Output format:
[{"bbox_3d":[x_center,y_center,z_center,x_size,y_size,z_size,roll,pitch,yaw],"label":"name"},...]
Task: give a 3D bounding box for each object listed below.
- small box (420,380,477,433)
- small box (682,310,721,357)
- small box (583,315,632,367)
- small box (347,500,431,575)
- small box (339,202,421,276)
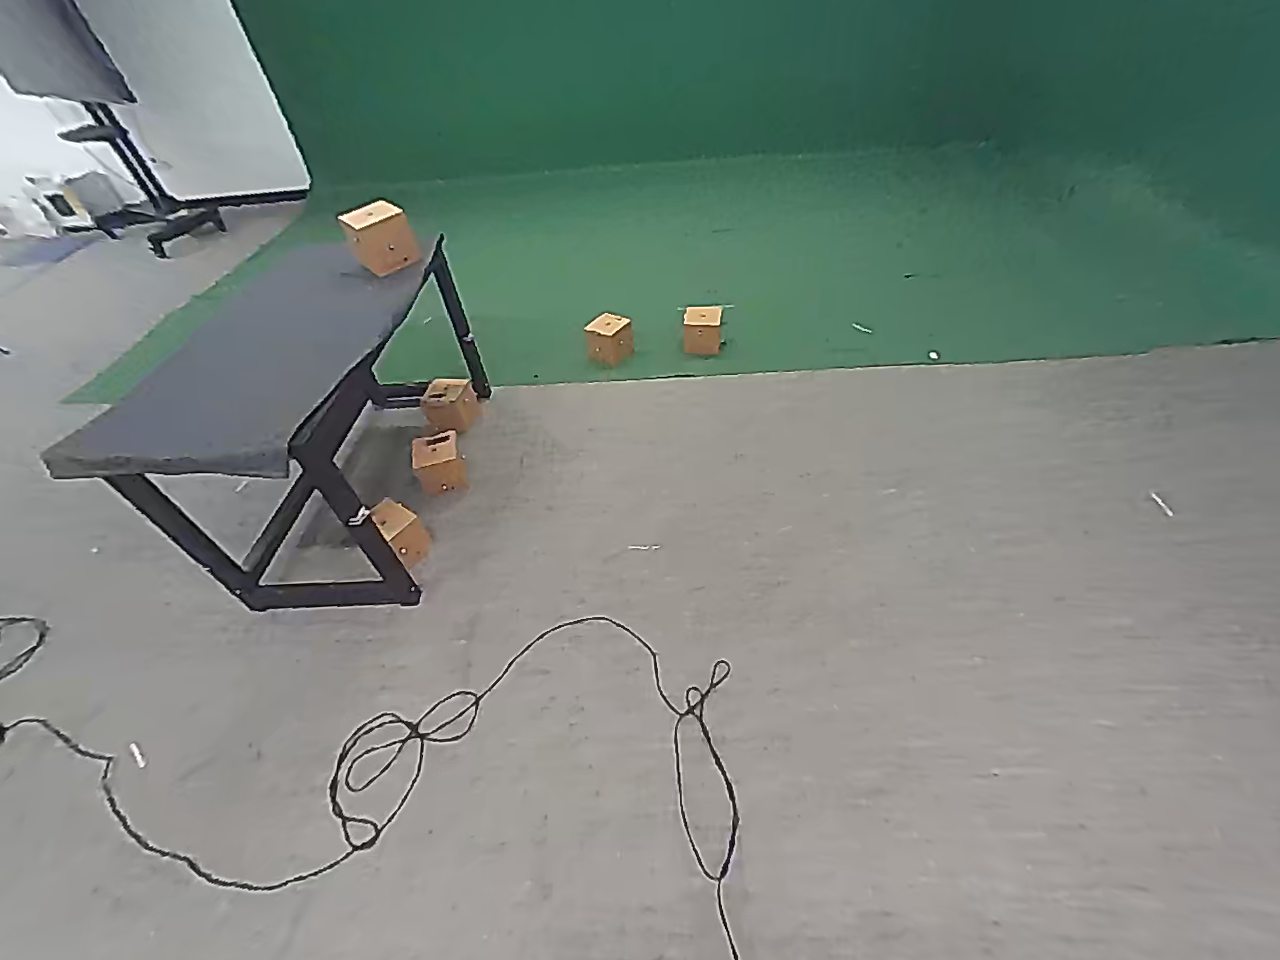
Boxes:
[{"bbox_3d":[-0.839,-0.323,2.392,0.168,0.176,0.179,2,45,7],"label":"small box"},{"bbox_3d":[0.304,-0.724,2.673,0.179,0.176,0.168,5,47,9],"label":"small box"},{"bbox_3d":[-0.155,-0.688,2.685,0.168,0.176,0.179,24,53,27],"label":"small box"},{"bbox_3d":[-0.864,0.204,1.879,0.179,0.176,0.168,23,52,26],"label":"small box"},{"bbox_3d":[-0.889,-0.828,1.864,0.168,0.176,0.179,-37,53,-24],"label":"small box"}]
